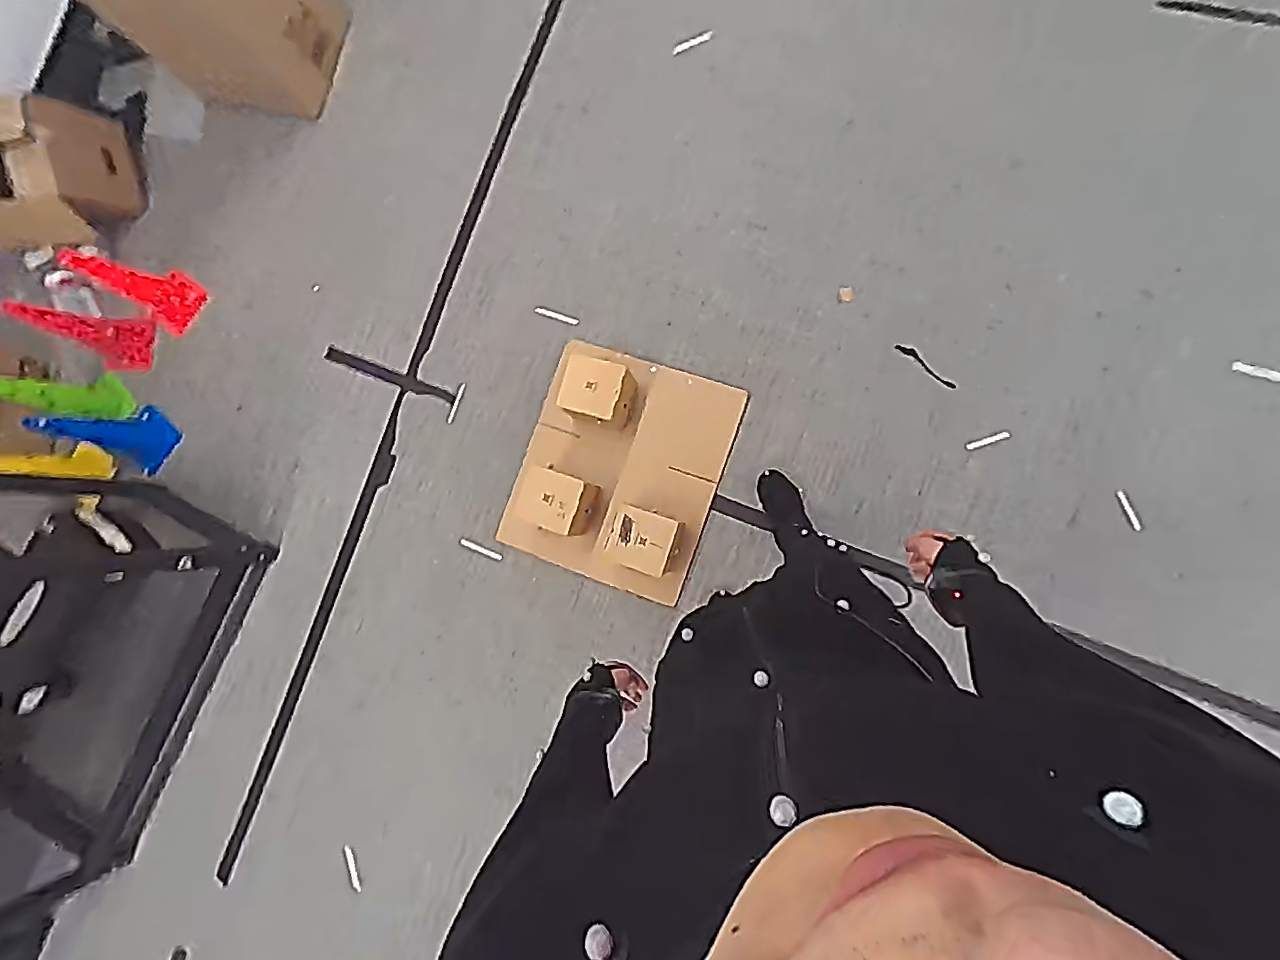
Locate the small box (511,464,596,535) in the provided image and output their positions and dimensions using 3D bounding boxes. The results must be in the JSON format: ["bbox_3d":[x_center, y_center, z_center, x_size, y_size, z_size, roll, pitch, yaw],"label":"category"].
[{"bbox_3d":[-0.252,0.062,1.614,0.179,0.176,0.168,18,89,9],"label":"small box"}]

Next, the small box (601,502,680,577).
[{"bbox_3d":[0.008,0.171,1.565,0.179,0.176,0.168,18,89,9],"label":"small box"}]

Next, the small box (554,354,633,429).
[{"bbox_3d":[-0.135,-0.260,1.631,0.179,0.176,0.168,15,87,10],"label":"small box"}]
